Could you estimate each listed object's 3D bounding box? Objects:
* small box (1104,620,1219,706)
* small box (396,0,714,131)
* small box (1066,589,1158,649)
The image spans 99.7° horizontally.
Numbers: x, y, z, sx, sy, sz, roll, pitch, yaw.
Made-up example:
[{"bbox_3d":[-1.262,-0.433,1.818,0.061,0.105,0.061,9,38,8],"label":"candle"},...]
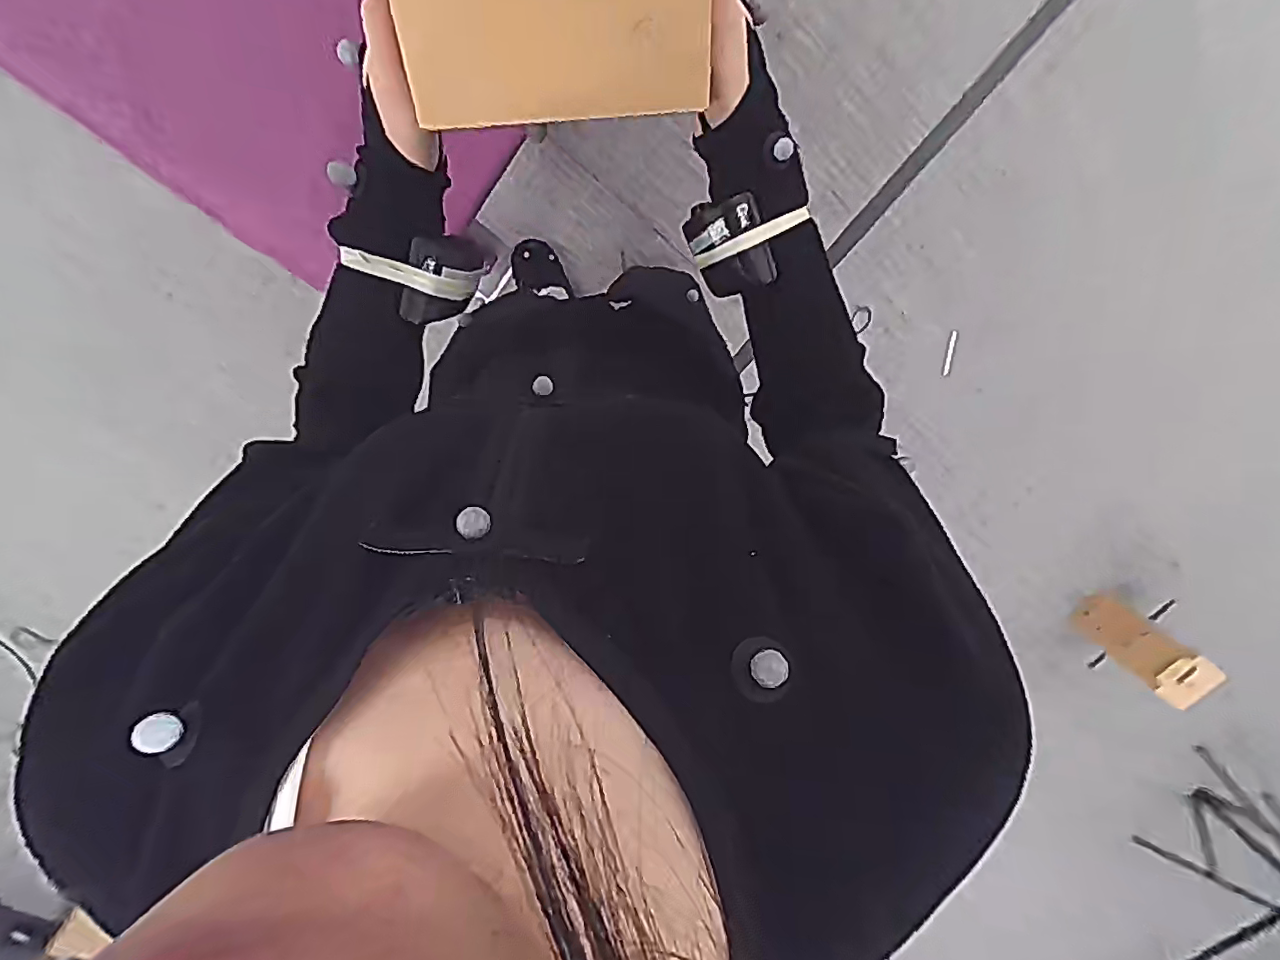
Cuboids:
[{"bbox_3d":[1.649,0.575,1.721,0.179,0.176,0.168,32,108,-18],"label":"small box"},{"bbox_3d":[-0.049,-0.321,0.320,0.168,0.176,0.179,-5,127,-3],"label":"small box"},{"bbox_3d":[1.639,0.504,1.870,0.179,0.176,0.168,30,108,-18],"label":"small box"}]
